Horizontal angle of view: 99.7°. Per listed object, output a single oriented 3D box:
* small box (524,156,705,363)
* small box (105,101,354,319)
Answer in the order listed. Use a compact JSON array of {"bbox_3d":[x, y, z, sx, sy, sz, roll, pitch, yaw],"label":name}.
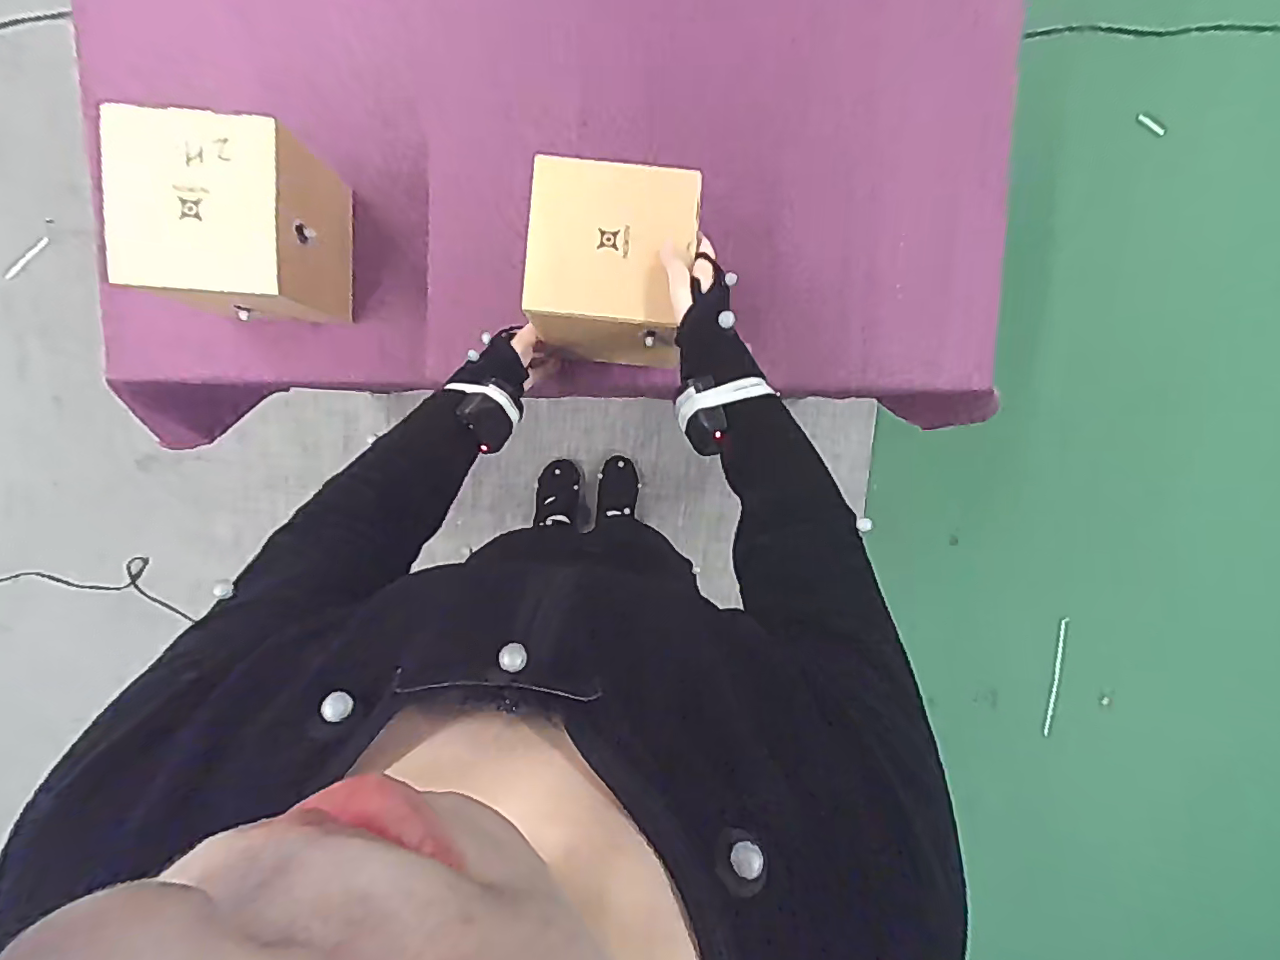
[{"bbox_3d":[-0.028,-0.242,0.634,0.179,0.176,0.168,5,88,-2],"label":"small box"},{"bbox_3d":[-0.448,-0.288,0.620,0.168,0.176,0.179,3,96,-4],"label":"small box"}]
